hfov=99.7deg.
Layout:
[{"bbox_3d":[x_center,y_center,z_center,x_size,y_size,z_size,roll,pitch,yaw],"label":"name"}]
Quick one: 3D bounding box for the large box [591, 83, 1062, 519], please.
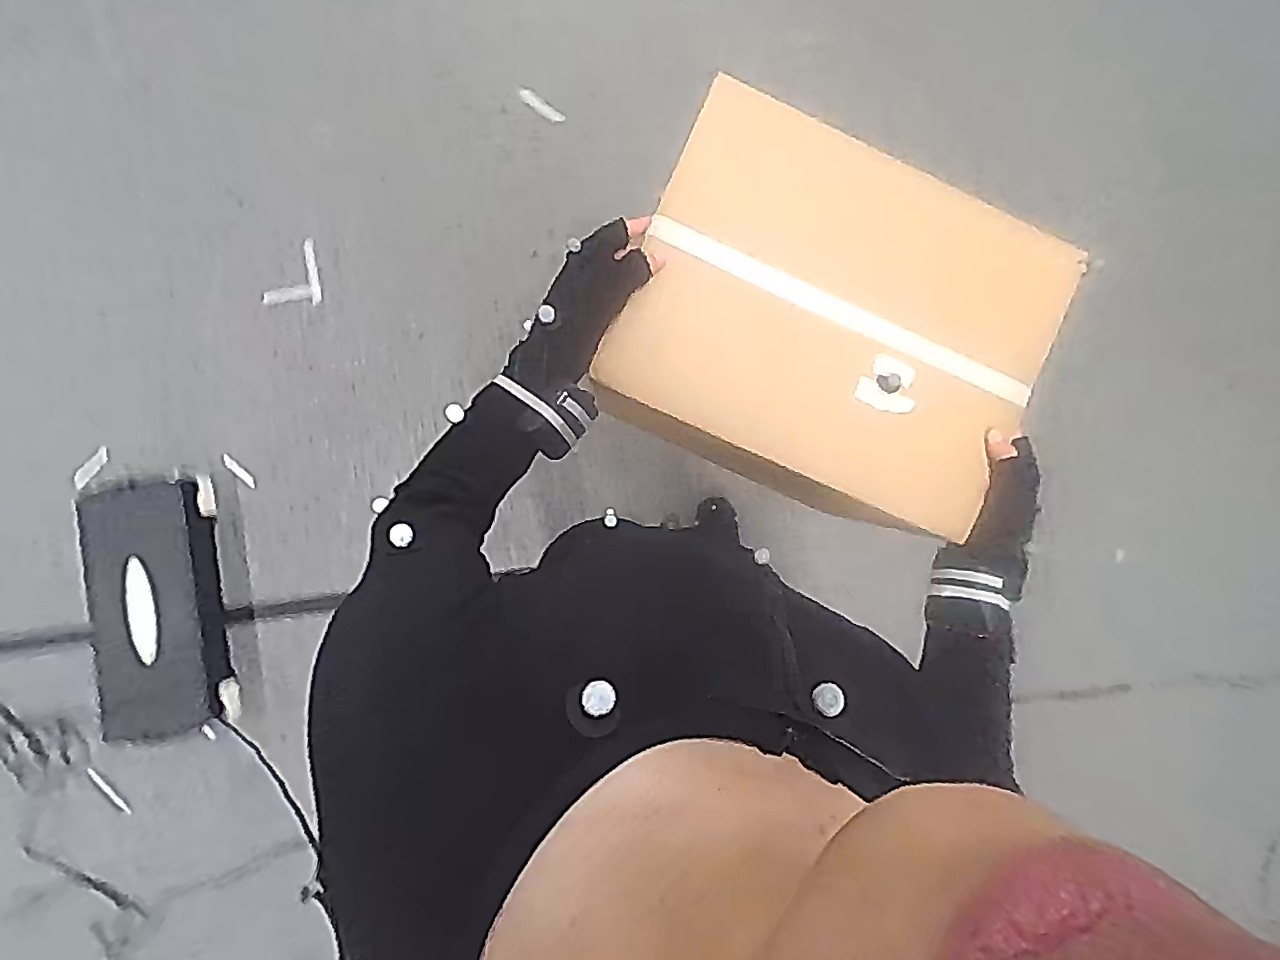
[{"bbox_3d":[0.177,-0.174,0.677,0.408,0.320,0.320,22,90,-4],"label":"large box"}]
